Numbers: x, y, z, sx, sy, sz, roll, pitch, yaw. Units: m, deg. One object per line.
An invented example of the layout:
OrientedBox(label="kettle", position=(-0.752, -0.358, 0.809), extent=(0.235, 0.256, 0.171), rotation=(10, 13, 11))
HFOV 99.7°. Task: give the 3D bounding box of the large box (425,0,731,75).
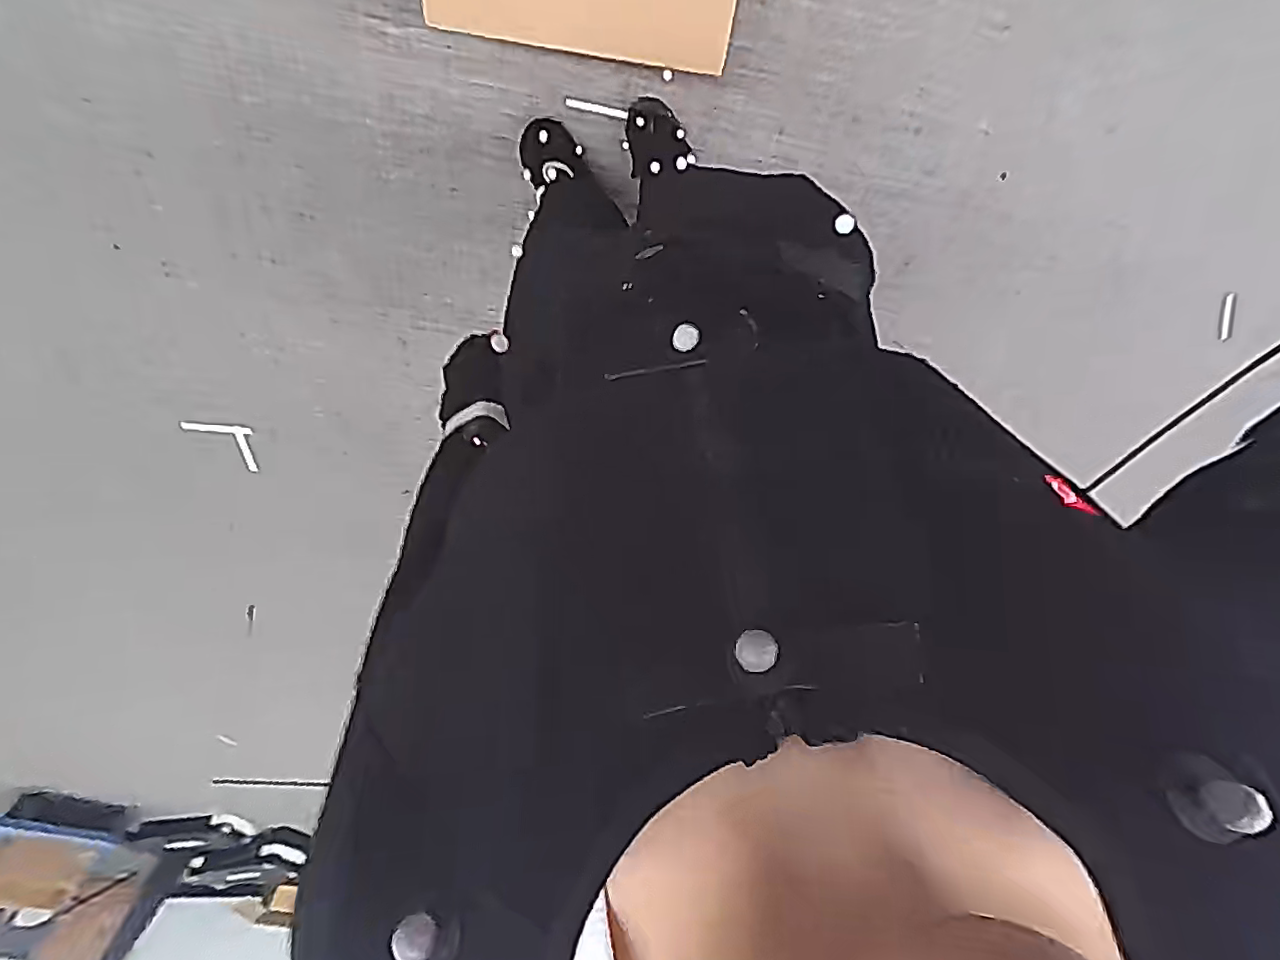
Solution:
OrientedBox(label="large box", position=(-0.073, -0.799, 0.756), extent=(0.408, 0.320, 0.320), rotation=(4, 131, -7))
